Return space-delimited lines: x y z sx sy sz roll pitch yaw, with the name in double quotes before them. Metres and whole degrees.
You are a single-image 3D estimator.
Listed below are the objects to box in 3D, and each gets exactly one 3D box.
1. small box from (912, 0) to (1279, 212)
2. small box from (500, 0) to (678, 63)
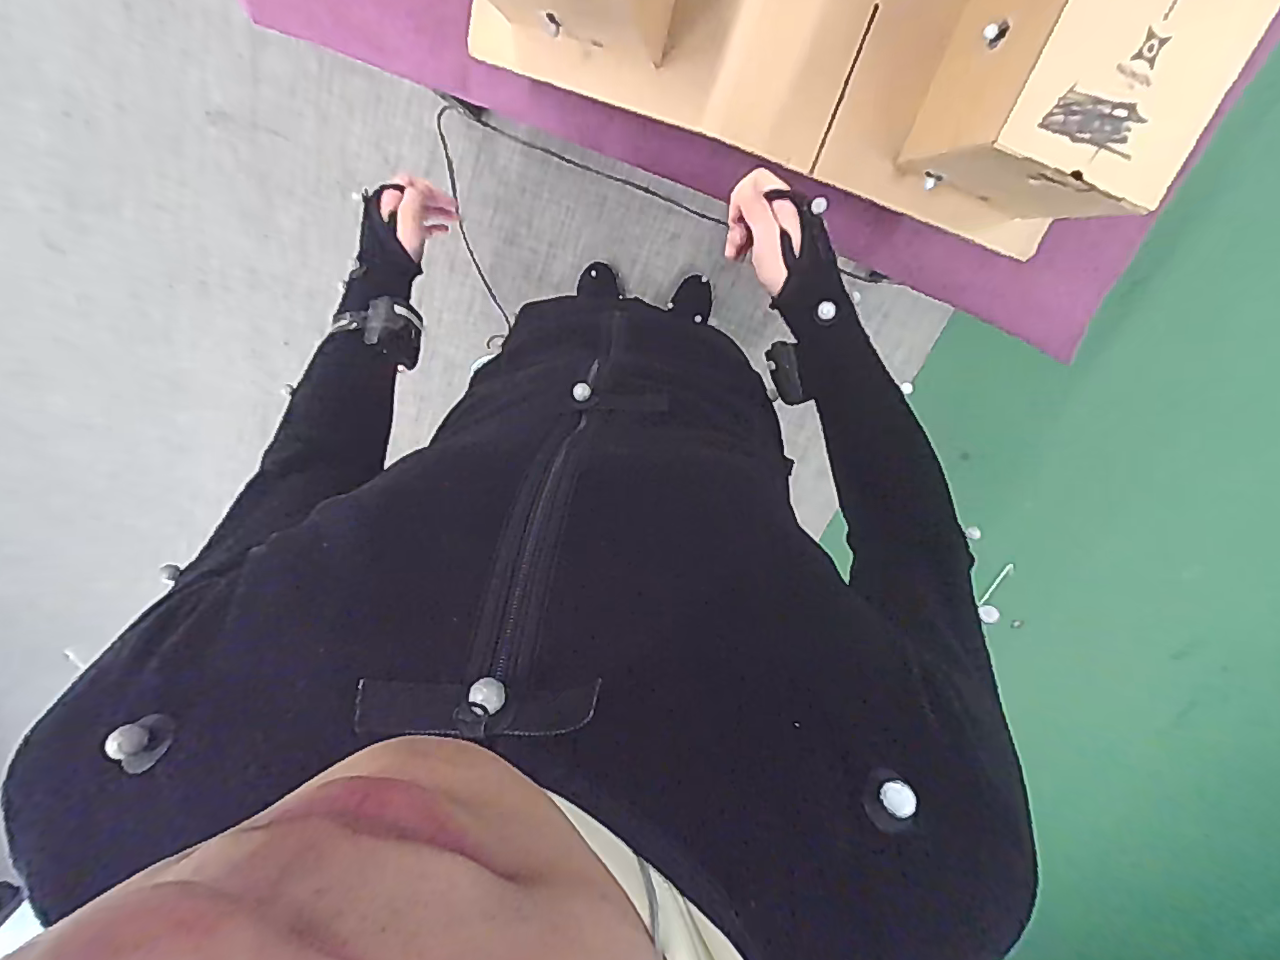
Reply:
"small box" 0.386 -0.360 0.493 0.168 0.176 0.179 15 112 -11
"small box" -0.046 -0.495 0.452 0.168 0.176 0.179 19 115 5
